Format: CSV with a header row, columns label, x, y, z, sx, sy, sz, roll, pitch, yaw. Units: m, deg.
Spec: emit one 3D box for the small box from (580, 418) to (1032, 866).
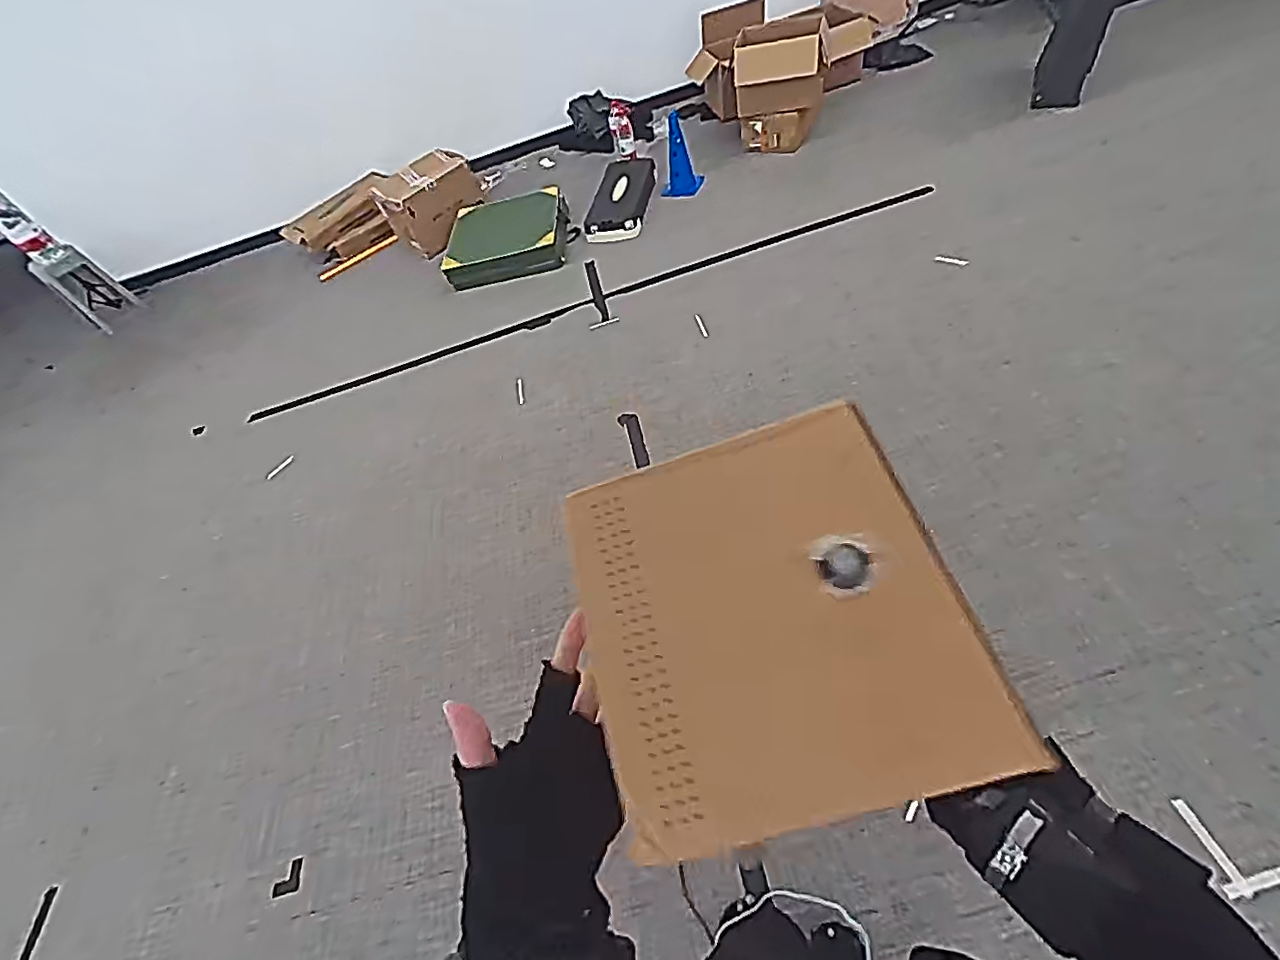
label,x,y,z,sx,sy,sz,roll,pitch,yaw
small box,0.073,0.097,0.327,0.176,0.168,0.179,-19,62,5
